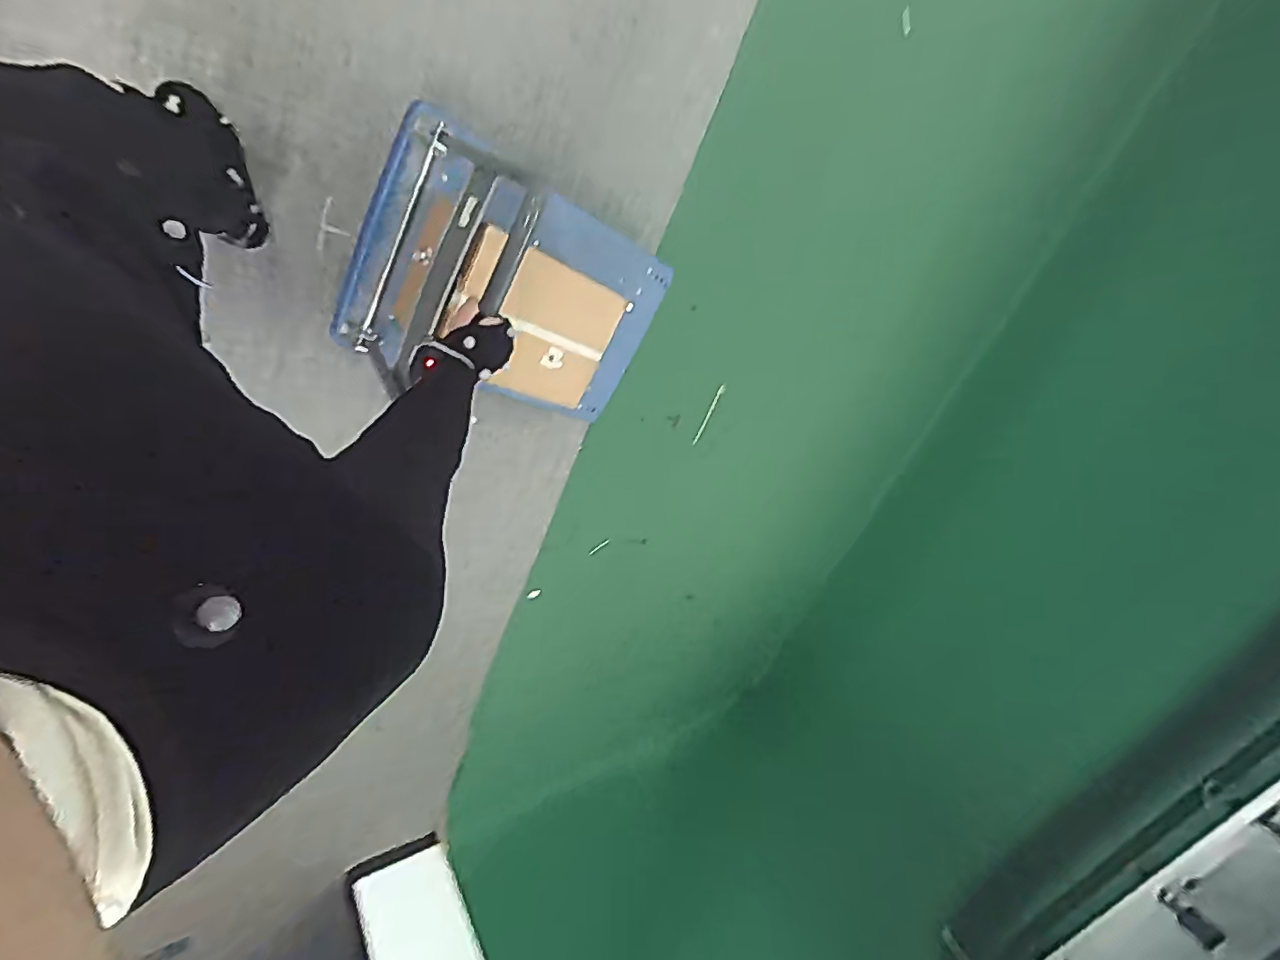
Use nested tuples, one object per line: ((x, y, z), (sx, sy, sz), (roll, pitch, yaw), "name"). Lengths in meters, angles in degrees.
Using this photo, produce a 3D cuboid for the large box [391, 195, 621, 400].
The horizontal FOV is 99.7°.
((-0.334, -0.438, 1.339), (0.408, 0.320, 0.320), (11, 115, -47), "large box")
